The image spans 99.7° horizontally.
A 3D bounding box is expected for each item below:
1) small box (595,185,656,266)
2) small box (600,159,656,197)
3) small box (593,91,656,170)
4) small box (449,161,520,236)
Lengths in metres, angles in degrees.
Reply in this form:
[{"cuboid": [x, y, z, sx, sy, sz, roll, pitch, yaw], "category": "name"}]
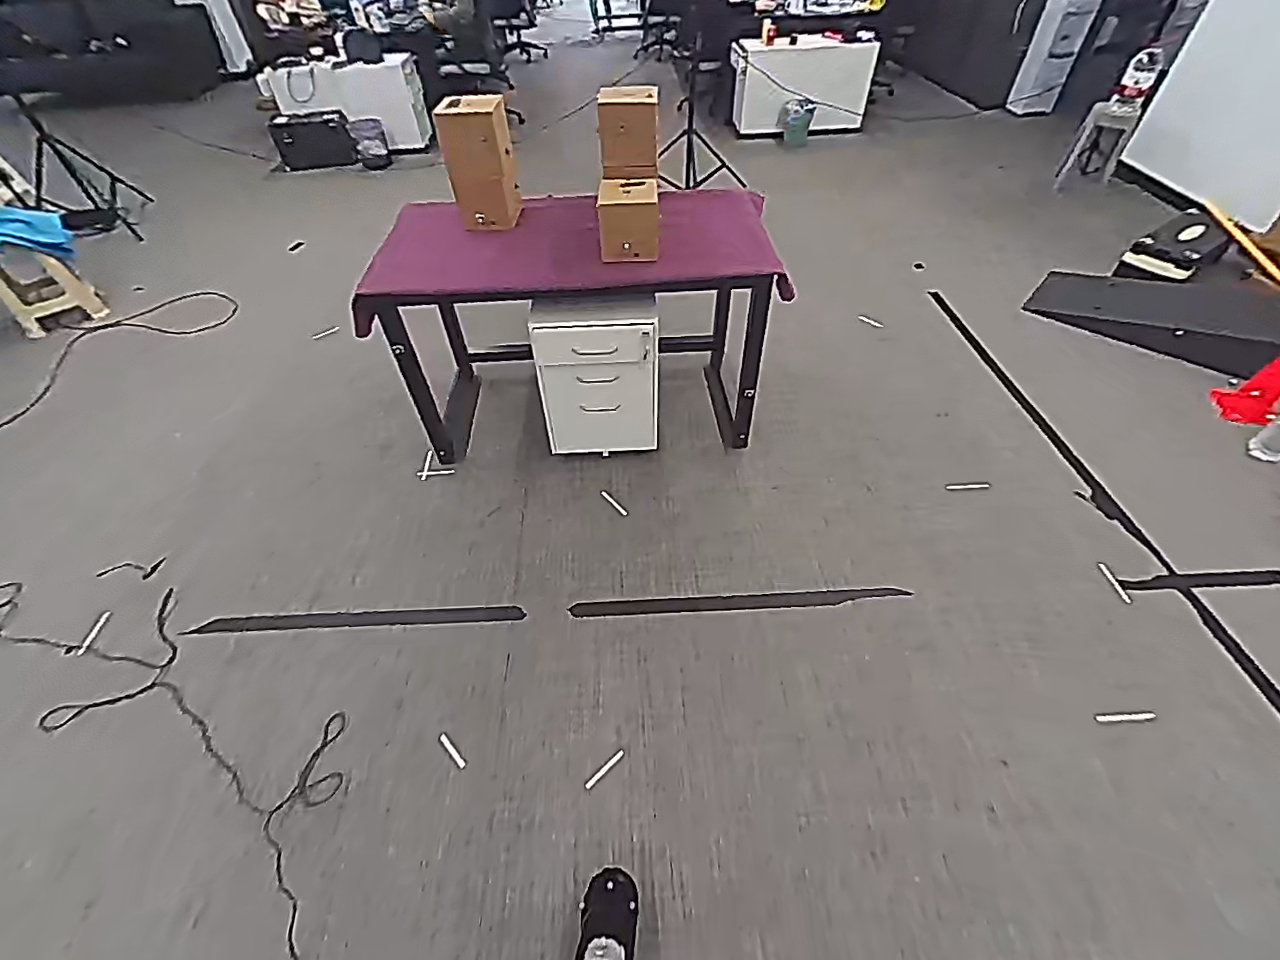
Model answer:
[{"cuboid": [-0.039, -0.749, 1.589, 0.168, 0.176, 0.179, -2, 47, 1], "category": "small box"}, {"cuboid": [-0.036, -0.959, 1.780, 0.179, 0.176, 0.168, -1, 48, 2], "category": "small box"}, {"cuboid": [-0.042, -1.069, 1.659, 0.179, 0.176, 0.168, 0, 49, 3], "category": "small box"}, {"cuboid": [-0.499, -0.916, 1.760, 0.168, 0.176, 0.179, 0, 50, 4], "category": "small box"}]
